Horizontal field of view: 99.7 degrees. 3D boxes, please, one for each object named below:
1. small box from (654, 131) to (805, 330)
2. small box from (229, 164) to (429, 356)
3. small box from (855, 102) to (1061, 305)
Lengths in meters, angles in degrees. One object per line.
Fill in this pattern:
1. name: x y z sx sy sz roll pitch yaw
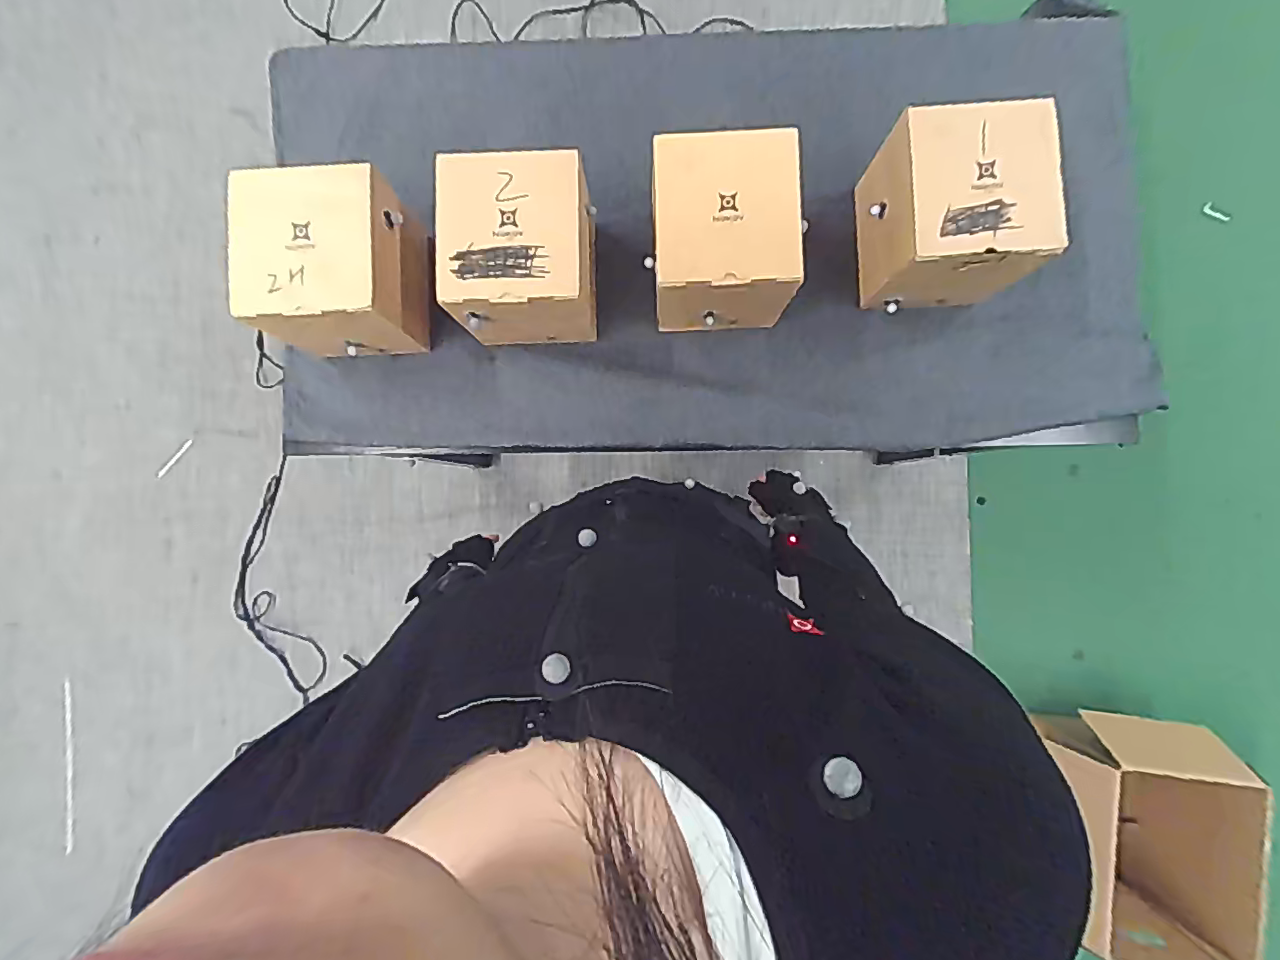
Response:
1. small box: 0.103 -0.305 0.691 0.168 0.176 0.179 -2 89 1
2. small box: -0.384 -0.270 0.694 0.168 0.176 0.179 -3 87 0
3. small box: 0.384 -0.330 0.683 0.168 0.176 0.179 -2 88 1
